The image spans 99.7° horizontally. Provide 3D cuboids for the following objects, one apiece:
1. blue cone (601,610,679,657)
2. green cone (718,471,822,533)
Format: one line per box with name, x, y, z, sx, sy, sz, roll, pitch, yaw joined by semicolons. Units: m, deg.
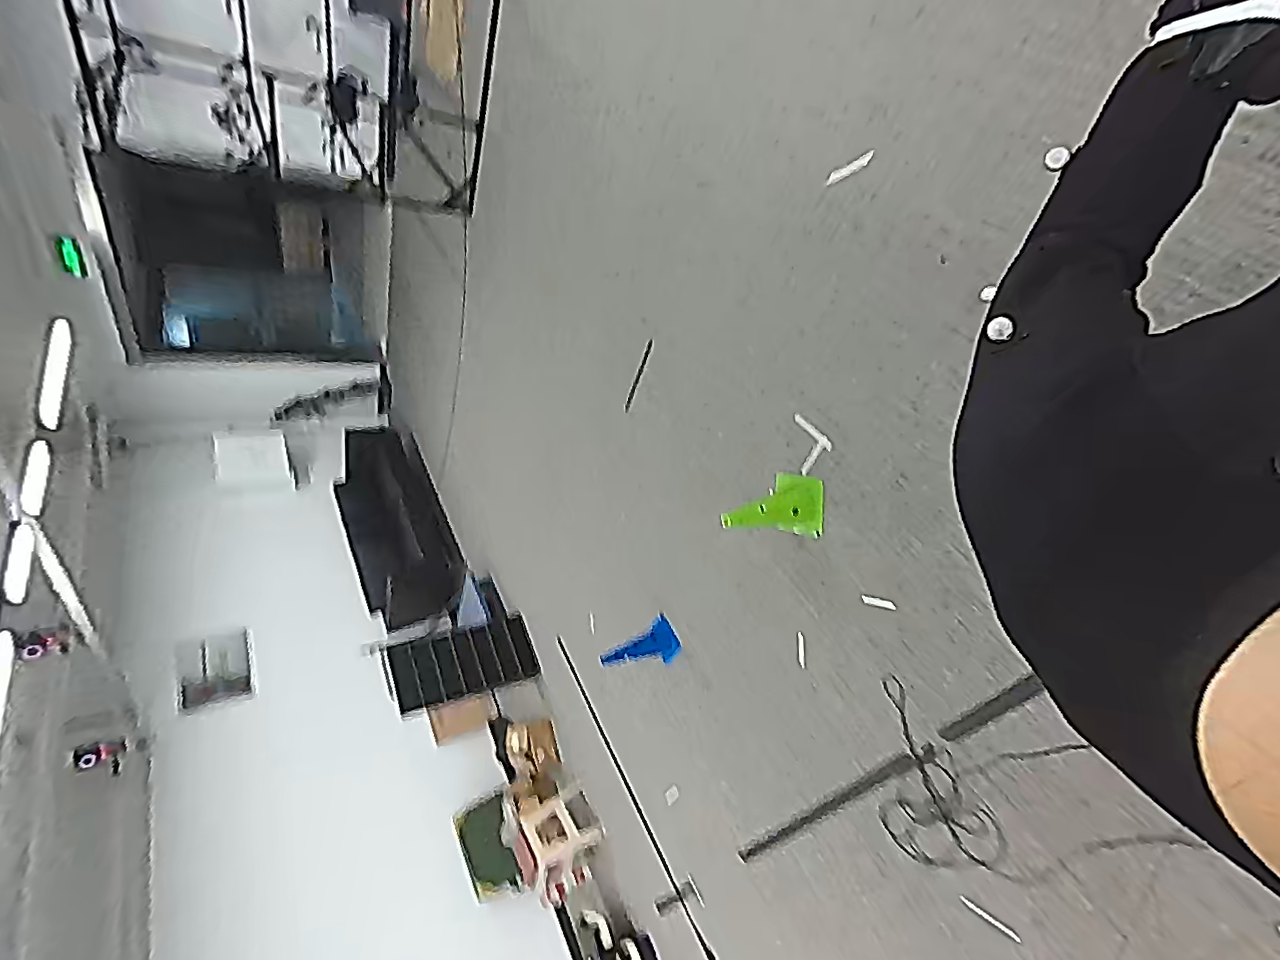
blue cone;-0.015;0.781;2.580;0.192;0.380;0.193;59;139;31
green cone;0.411;0.091;1.790;0.202;0.368;0.200;12;106;55
